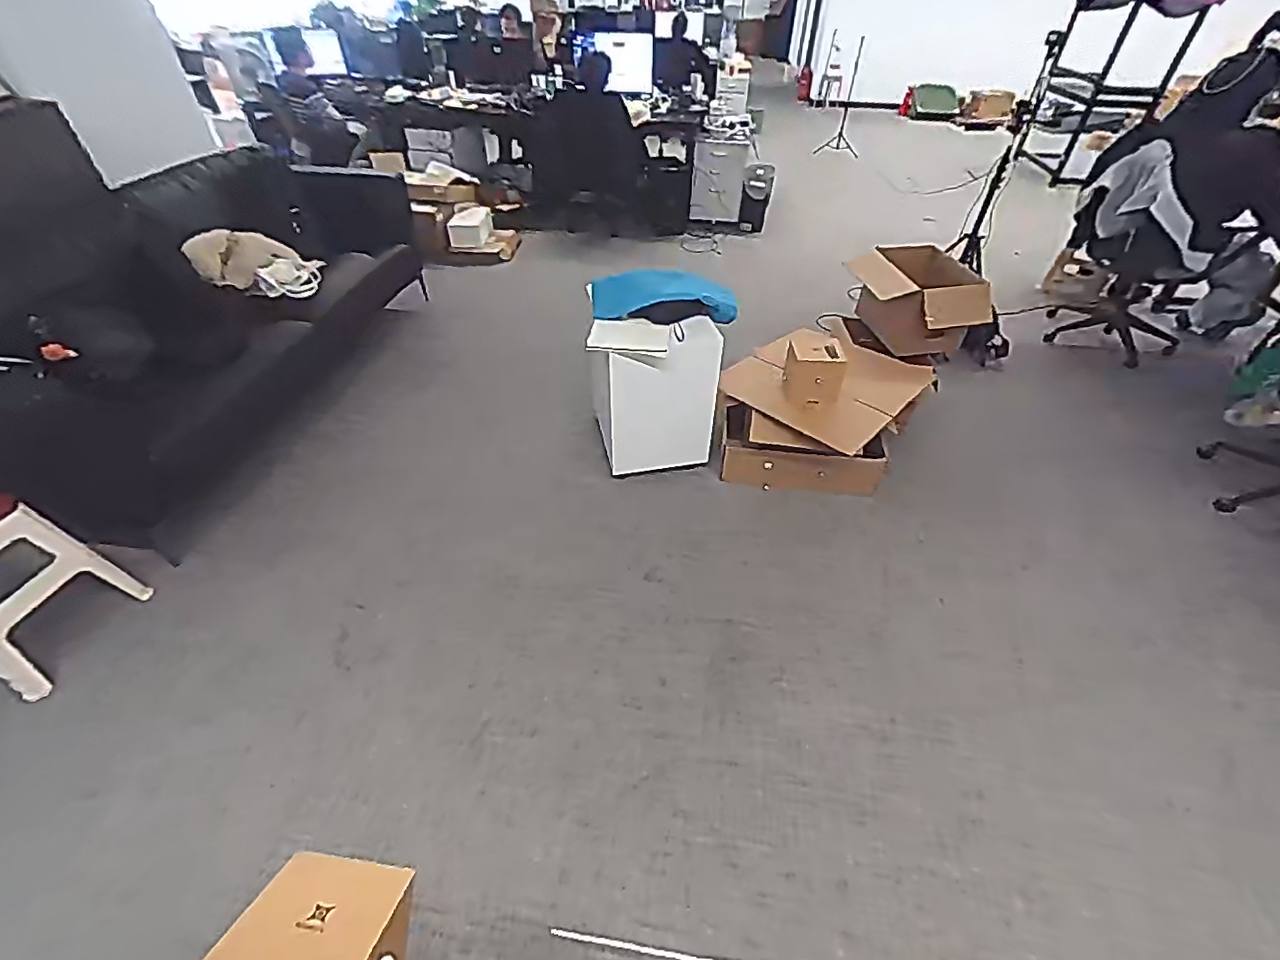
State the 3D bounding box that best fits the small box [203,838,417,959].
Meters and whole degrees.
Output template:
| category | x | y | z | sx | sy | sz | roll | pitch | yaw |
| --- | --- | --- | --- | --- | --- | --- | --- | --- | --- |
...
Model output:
| category | x | y | z | sx | sy | sz | roll | pitch | yaw |
| --- | --- | --- | --- | --- | --- | --- | --- | --- | --- |
| small box | -0.402 | 0.596 | 0.666 | 0.168 | 0.176 | 0.179 | 10 | 7 | 1 |
